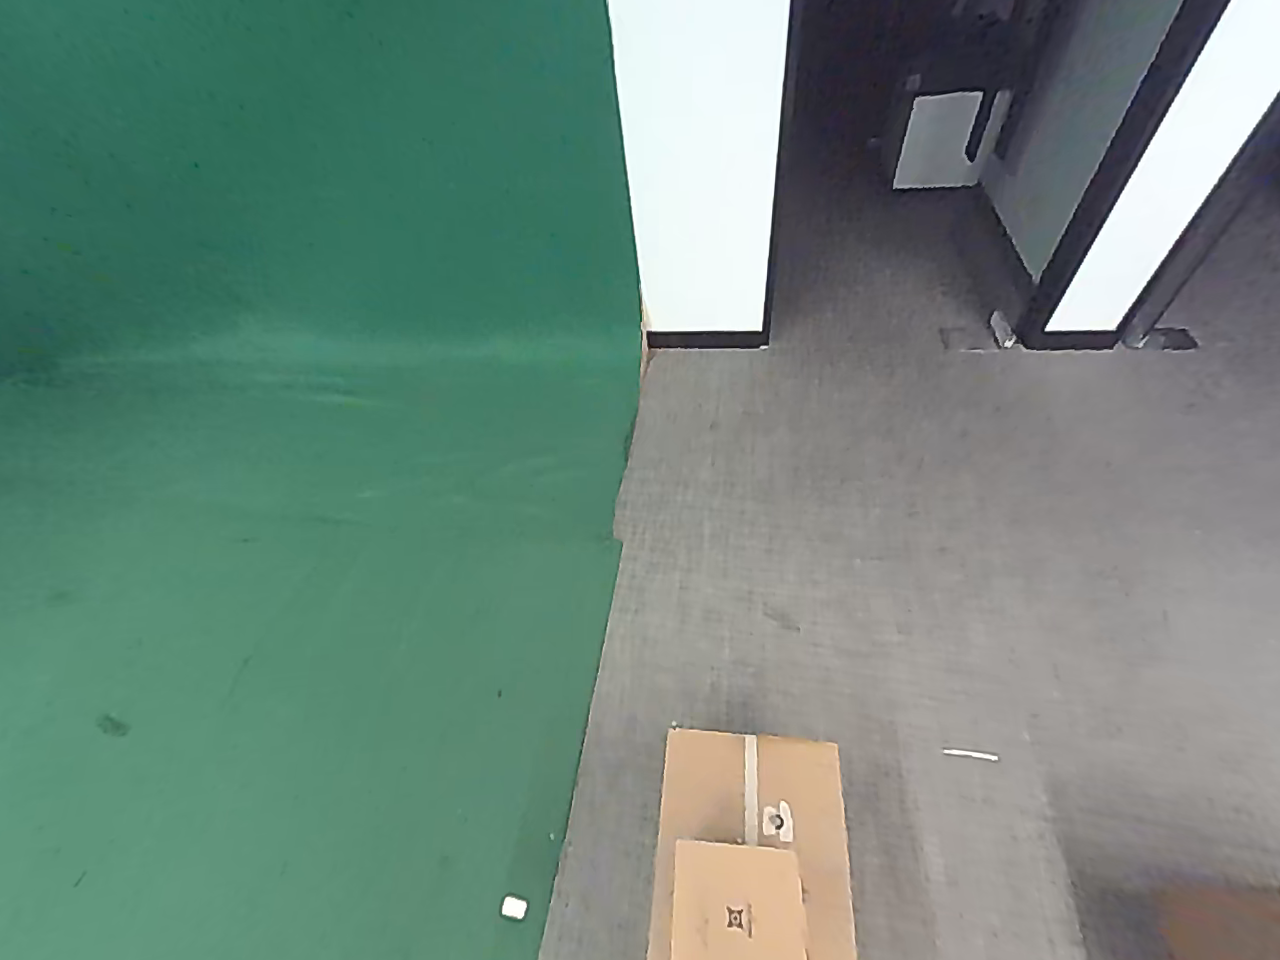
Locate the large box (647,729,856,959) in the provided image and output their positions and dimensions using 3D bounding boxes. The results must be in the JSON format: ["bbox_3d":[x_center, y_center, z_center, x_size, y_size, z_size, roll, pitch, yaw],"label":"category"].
[{"bbox_3d":[0.197,0.728,0.997,0.320,0.320,0.408,2,51,10],"label":"large box"}]

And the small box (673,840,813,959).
[{"bbox_3d":[0.143,0.627,0.768,0.179,0.176,0.168,0,50,10],"label":"small box"}]
